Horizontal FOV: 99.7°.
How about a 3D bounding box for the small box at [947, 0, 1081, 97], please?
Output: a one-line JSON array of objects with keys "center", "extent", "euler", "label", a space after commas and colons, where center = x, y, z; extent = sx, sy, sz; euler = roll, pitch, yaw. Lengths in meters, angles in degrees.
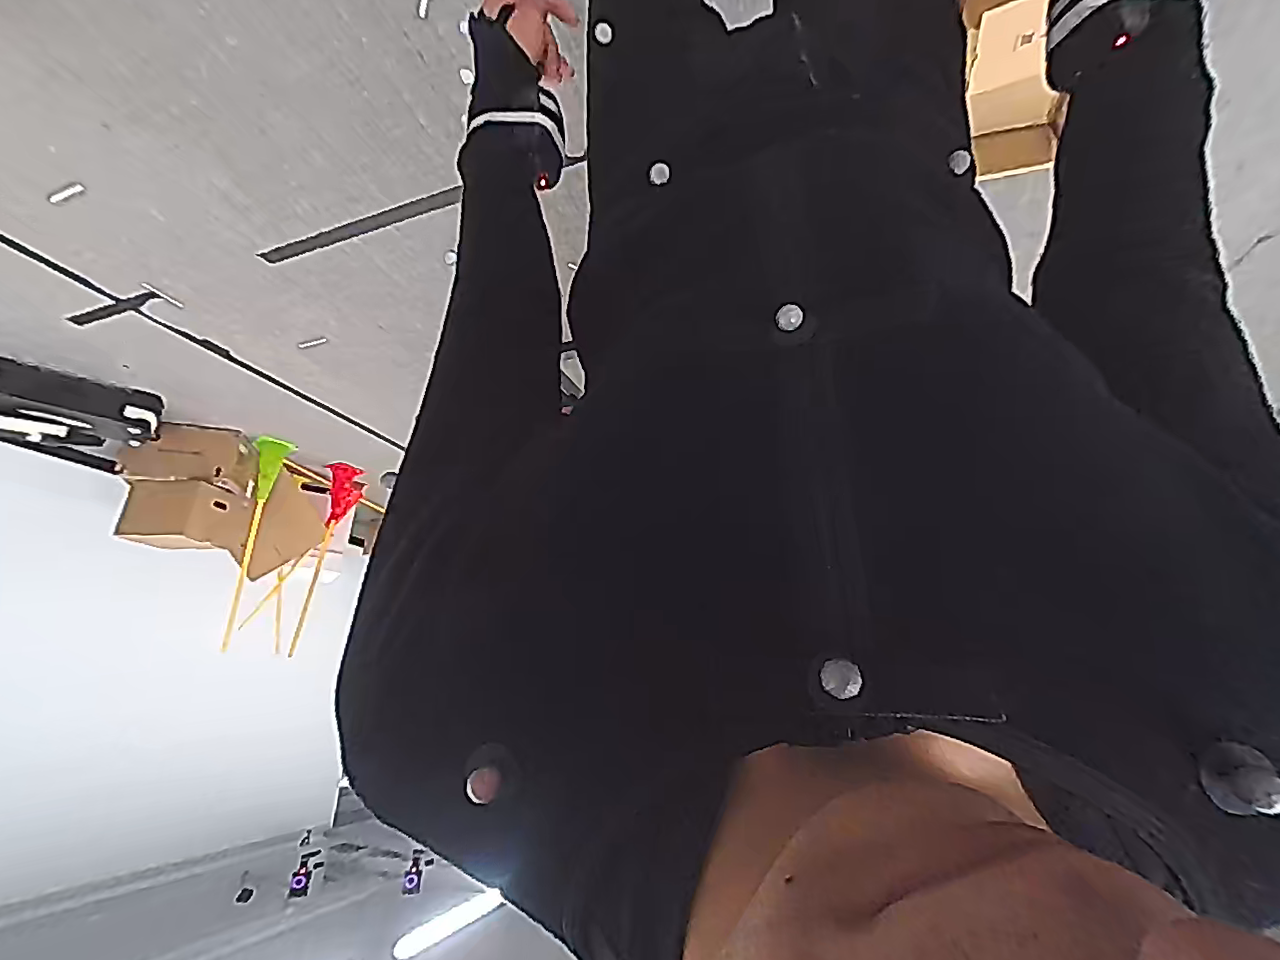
[{"center": [0.718, -0.905, 1.052], "extent": [0.179, 0.176, 0.168], "euler": [-7, 159, 18], "label": "small box"}]
